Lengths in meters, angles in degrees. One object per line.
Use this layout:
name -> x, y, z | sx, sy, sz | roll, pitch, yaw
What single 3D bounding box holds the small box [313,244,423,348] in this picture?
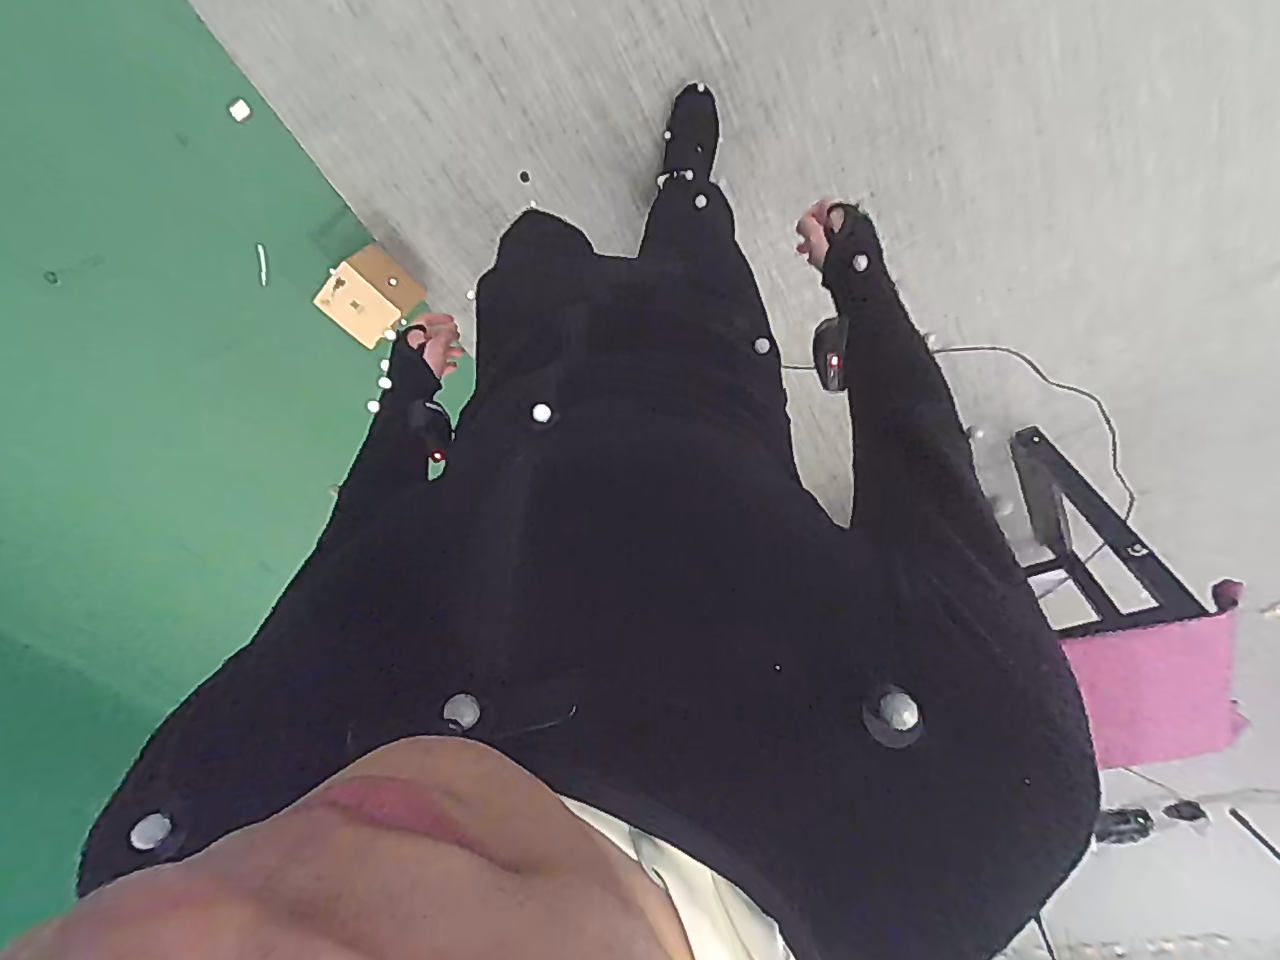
small box -> -0.720, -0.497, 1.452 | 0.168, 0.176, 0.179 | -33, 119, 27
